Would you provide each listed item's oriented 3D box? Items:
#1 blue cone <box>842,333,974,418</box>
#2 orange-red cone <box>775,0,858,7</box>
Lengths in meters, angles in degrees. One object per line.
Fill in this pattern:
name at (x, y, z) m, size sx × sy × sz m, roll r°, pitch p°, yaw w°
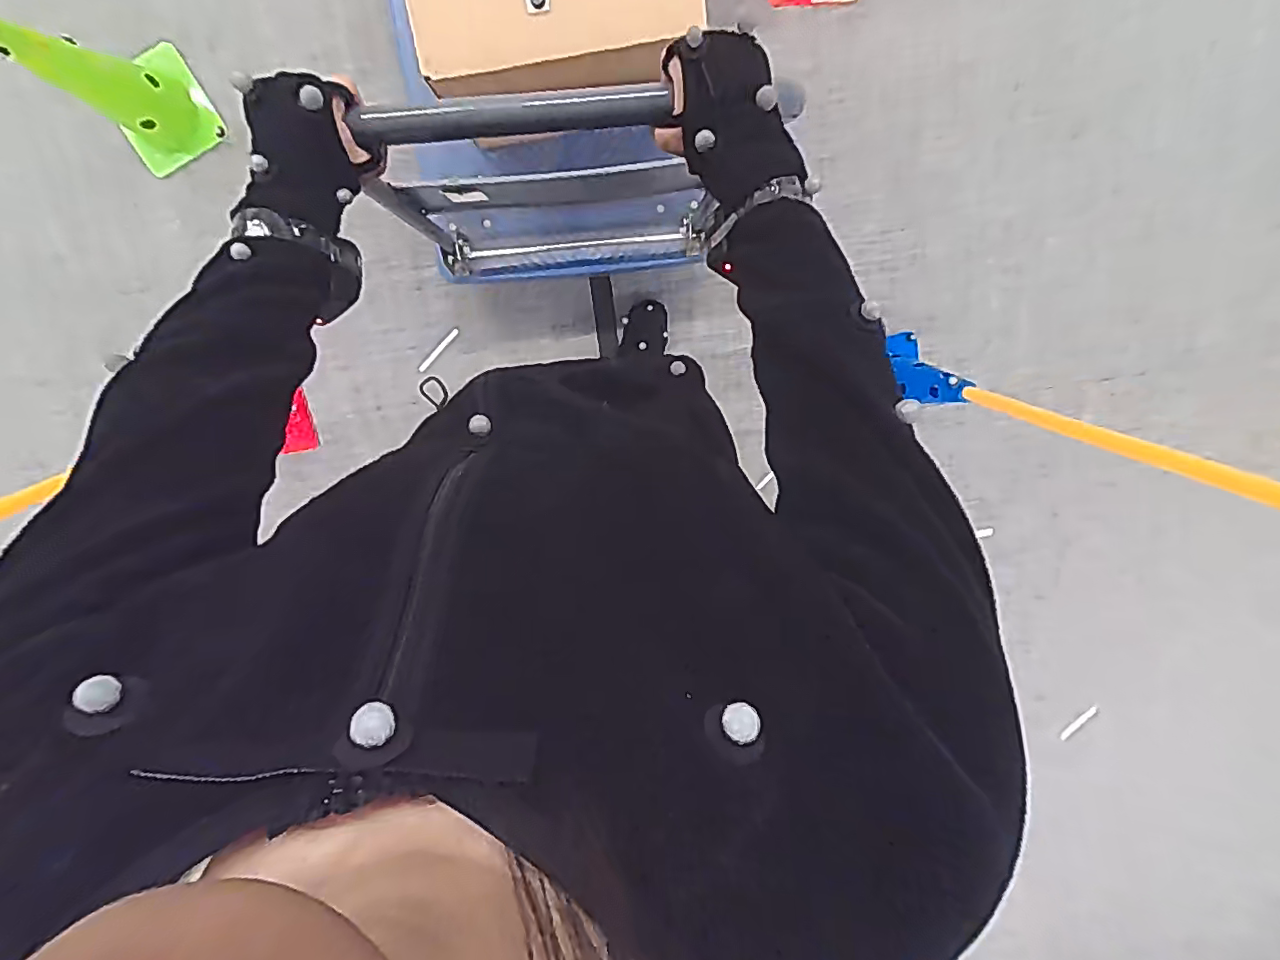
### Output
blue cone at (0.626, -0.223, 1.227) m, size 0.193 × 0.380 × 0.192 m, roll -12°, pitch 105°, yaw 0°
orange-red cone at (0.386, -1.062, 0.966) m, size 0.199 × 0.360 × 0.198 m, roll -2°, pitch 106°, yaw -3°
